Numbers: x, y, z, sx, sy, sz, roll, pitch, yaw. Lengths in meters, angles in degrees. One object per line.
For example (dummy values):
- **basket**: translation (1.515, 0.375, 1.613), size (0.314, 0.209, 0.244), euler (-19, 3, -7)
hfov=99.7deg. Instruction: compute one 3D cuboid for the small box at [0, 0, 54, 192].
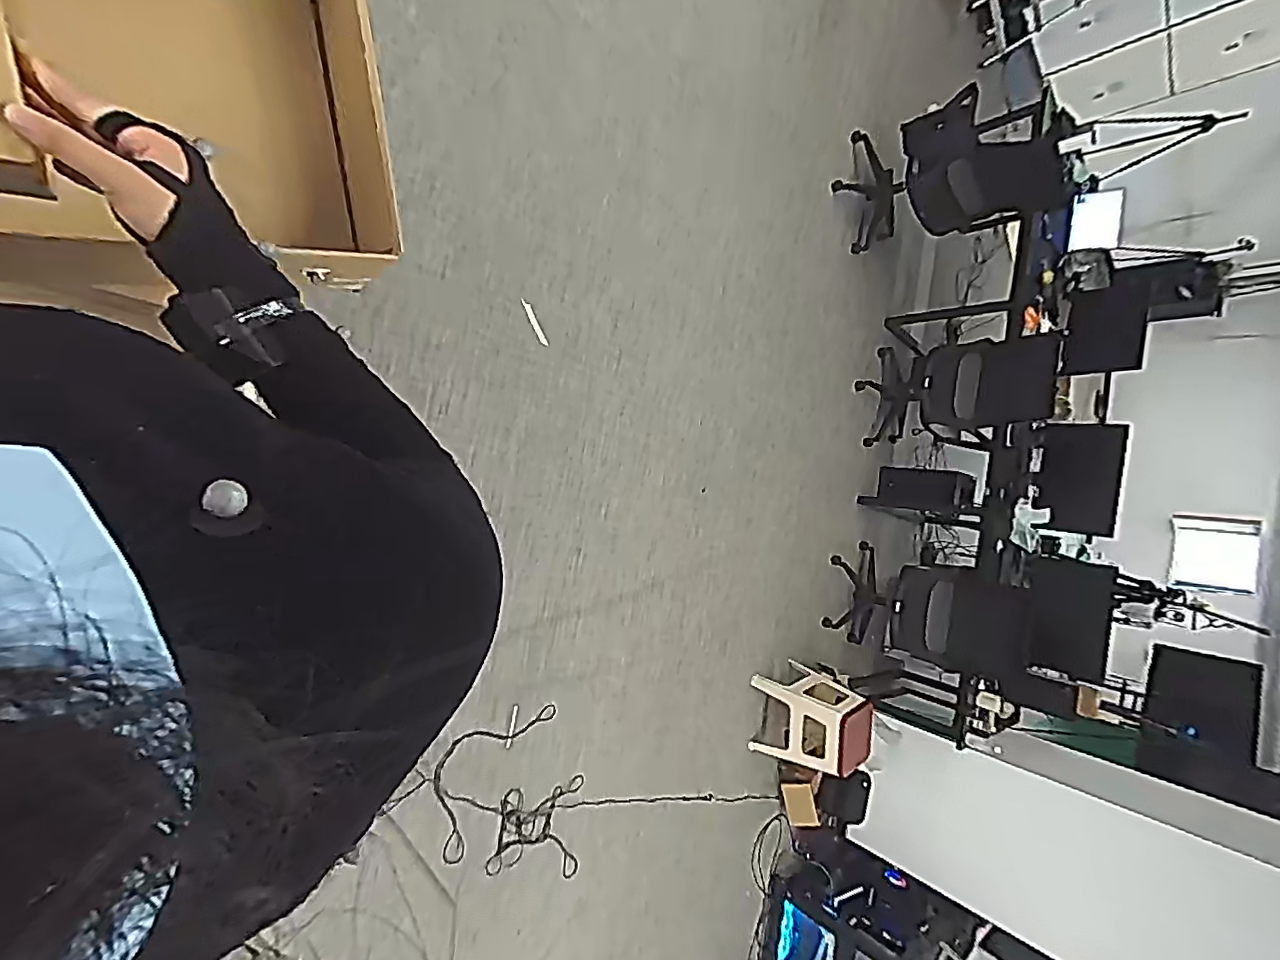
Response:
- **small box**: translation (-0.485, -0.281, 0.317), size (0.179, 0.176, 0.168), euler (-11, 111, -41)
